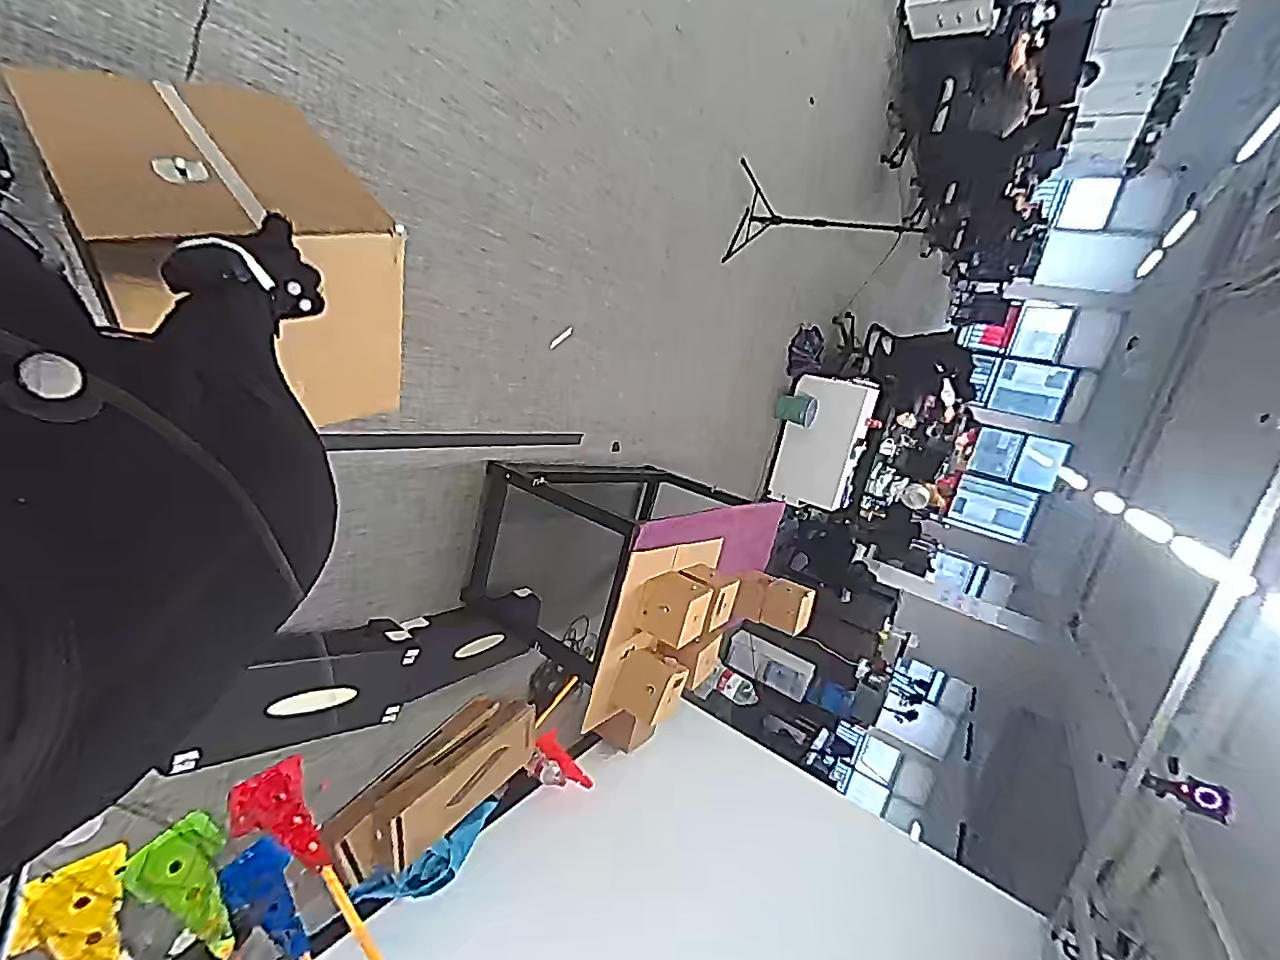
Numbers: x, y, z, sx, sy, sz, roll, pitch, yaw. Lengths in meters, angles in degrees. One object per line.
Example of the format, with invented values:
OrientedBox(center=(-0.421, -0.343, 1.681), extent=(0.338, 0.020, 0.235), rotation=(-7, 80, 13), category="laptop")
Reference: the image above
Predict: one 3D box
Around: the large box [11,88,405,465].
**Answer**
OrientedBox(center=(-0.599, -0.294, 0.796), extent=(0.320, 0.408, 0.320), rotation=(-24, 152, -40), category="large box")
